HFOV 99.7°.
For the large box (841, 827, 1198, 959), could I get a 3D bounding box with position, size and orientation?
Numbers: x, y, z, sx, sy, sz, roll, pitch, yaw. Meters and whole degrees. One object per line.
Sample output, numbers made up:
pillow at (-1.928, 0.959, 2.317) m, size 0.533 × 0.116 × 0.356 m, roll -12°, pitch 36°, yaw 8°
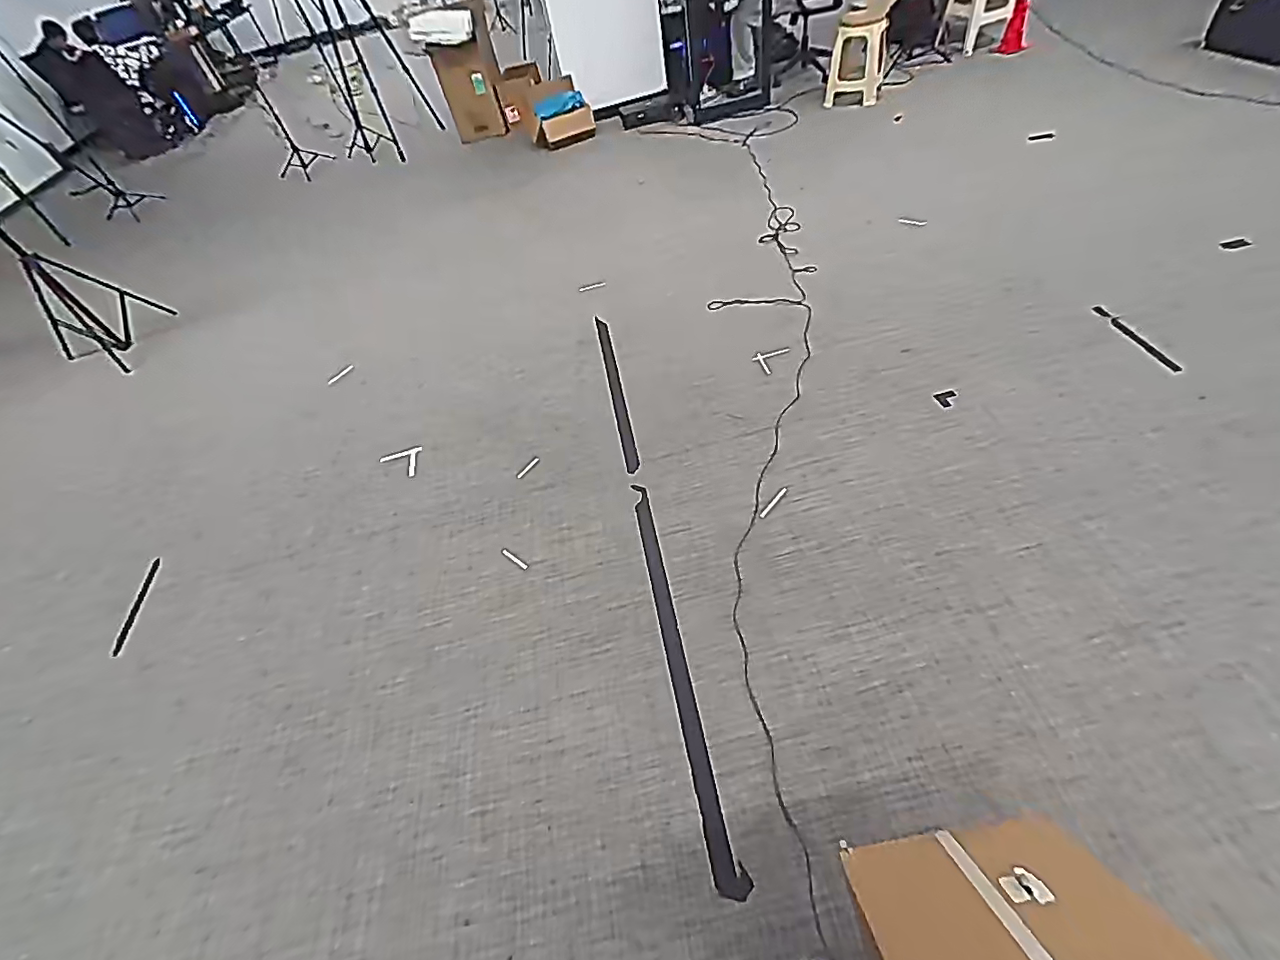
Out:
large box at (0.475, 0.686, 0.612) m, size 0.320 × 0.408 × 0.320 m, roll -12°, pitch 85°, yaw 4°
